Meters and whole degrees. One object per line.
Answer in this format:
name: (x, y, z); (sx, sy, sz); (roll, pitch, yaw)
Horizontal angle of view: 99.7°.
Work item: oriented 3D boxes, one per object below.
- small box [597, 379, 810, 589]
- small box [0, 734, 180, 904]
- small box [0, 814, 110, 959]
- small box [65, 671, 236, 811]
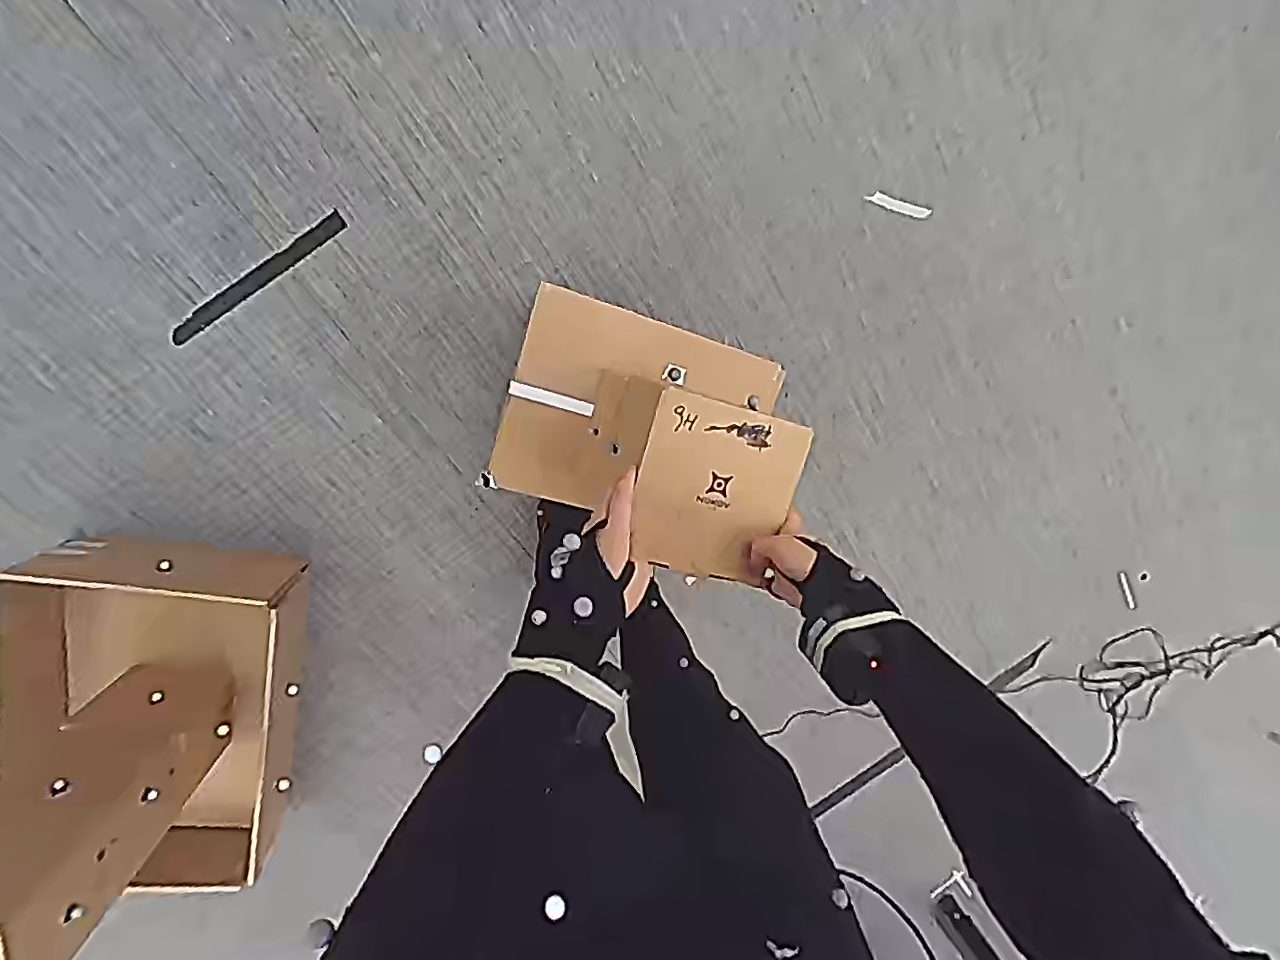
small box: (0.055, -0.004, 0.610); (0.168, 0.176, 0.179); (14, 102, -16)
small box: (-0.855, 0.517, 0.837); (0.179, 0.176, 0.168); (5, 102, -12)
small box: (-0.818, 0.553, 0.679); (0.179, 0.176, 0.168); (5, 102, -14)
small box: (-0.884, 0.471, 0.989); (0.179, 0.176, 0.168); (10, 102, -15)
